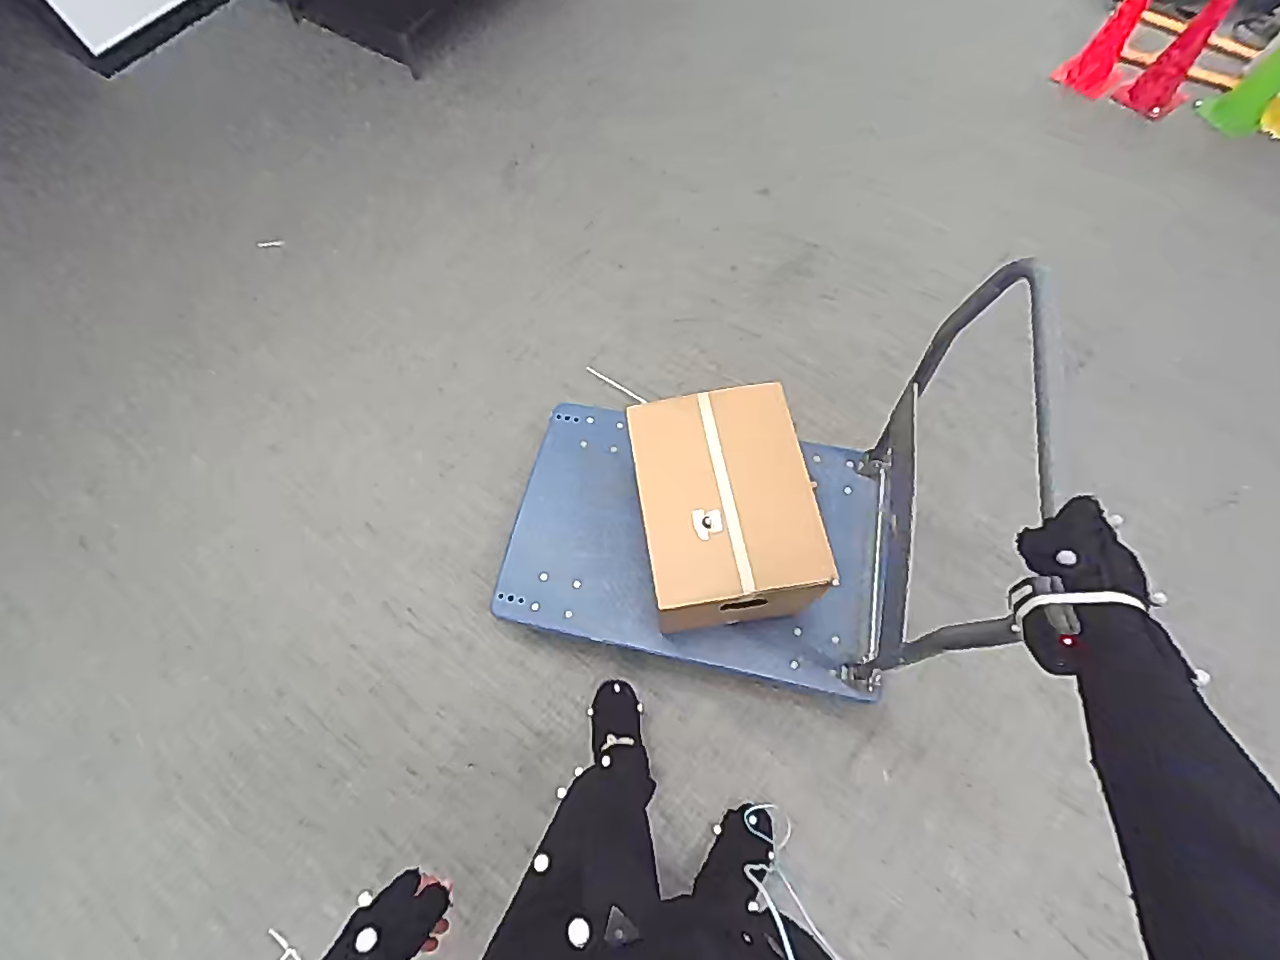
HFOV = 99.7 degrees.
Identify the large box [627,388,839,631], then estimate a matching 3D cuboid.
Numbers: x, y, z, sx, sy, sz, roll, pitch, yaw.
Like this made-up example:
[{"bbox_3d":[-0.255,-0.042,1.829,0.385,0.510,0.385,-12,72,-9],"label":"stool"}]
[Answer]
[{"bbox_3d":[0.164,0.074,1.139,0.320,0.320,0.408,-10,67,0],"label":"large box"}]
